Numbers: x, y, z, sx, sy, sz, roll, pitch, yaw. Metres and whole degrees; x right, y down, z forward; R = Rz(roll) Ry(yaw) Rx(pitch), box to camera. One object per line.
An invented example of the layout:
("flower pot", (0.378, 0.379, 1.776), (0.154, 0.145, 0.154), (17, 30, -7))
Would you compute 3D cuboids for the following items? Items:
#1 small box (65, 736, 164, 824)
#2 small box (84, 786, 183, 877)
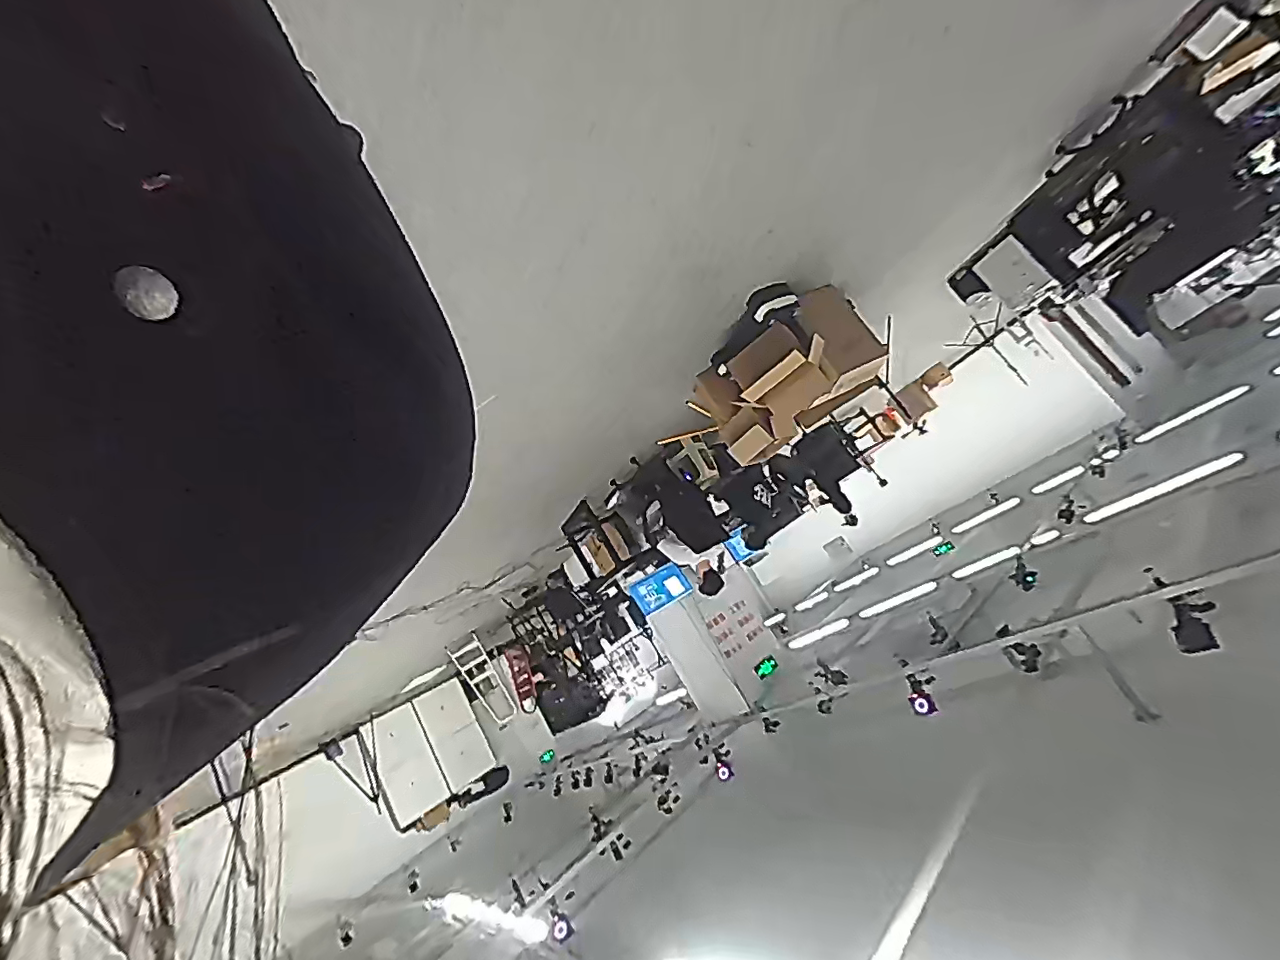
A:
("small box", (-1.618, 0.924, 1.665), (0.179, 0.176, 0.168), (-21, 162, -34))
("small box", (-1.530, 1.058, 1.636), (0.168, 0.176, 0.179), (-22, 162, -38))
